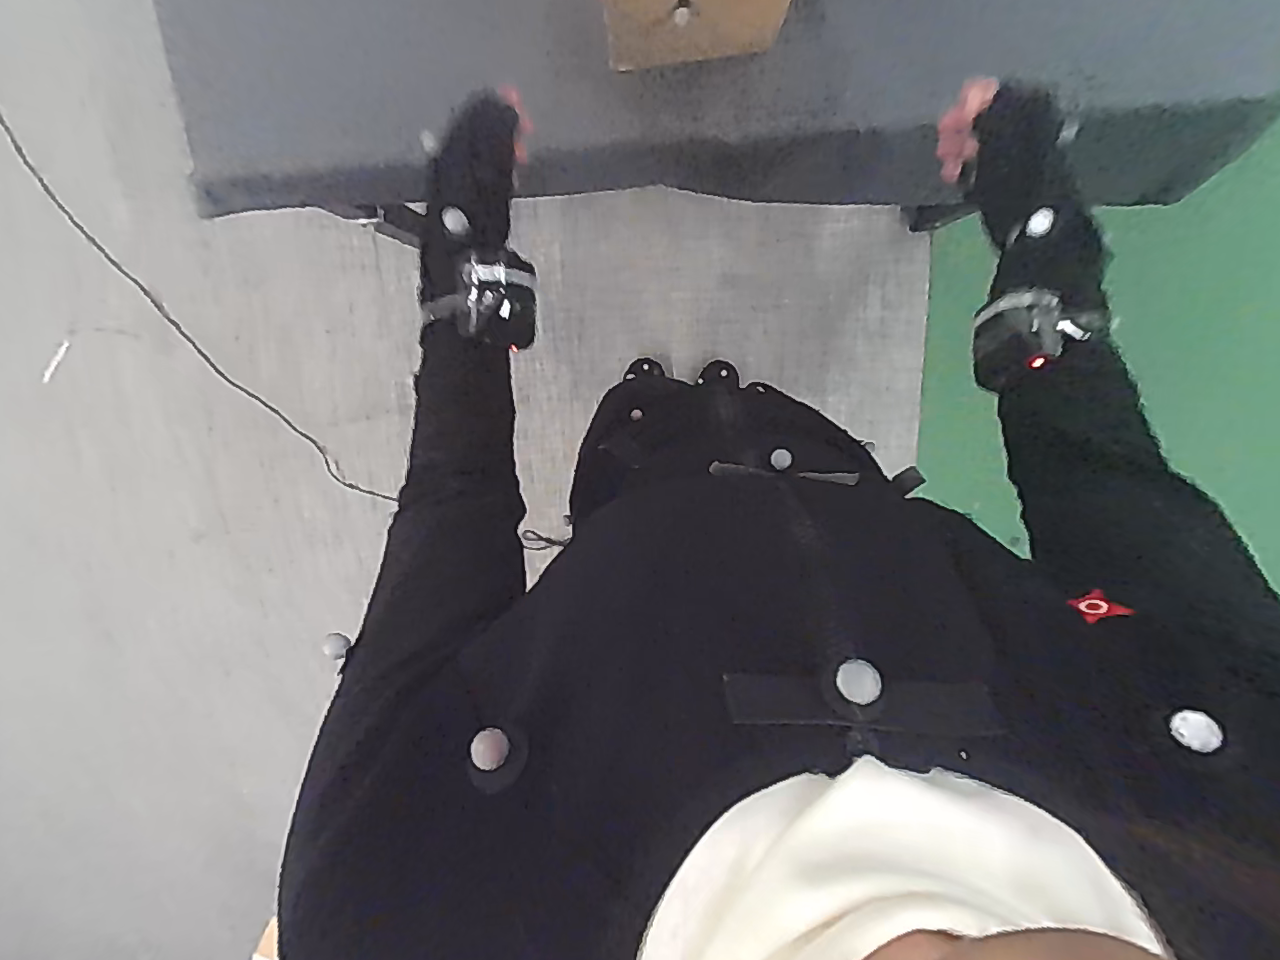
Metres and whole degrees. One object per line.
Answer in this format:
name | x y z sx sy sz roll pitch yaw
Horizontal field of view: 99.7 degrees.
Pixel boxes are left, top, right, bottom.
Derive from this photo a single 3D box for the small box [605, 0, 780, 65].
small box | 0.043 -0.522 0.492 0.179 0.176 0.168 -9 101 3
